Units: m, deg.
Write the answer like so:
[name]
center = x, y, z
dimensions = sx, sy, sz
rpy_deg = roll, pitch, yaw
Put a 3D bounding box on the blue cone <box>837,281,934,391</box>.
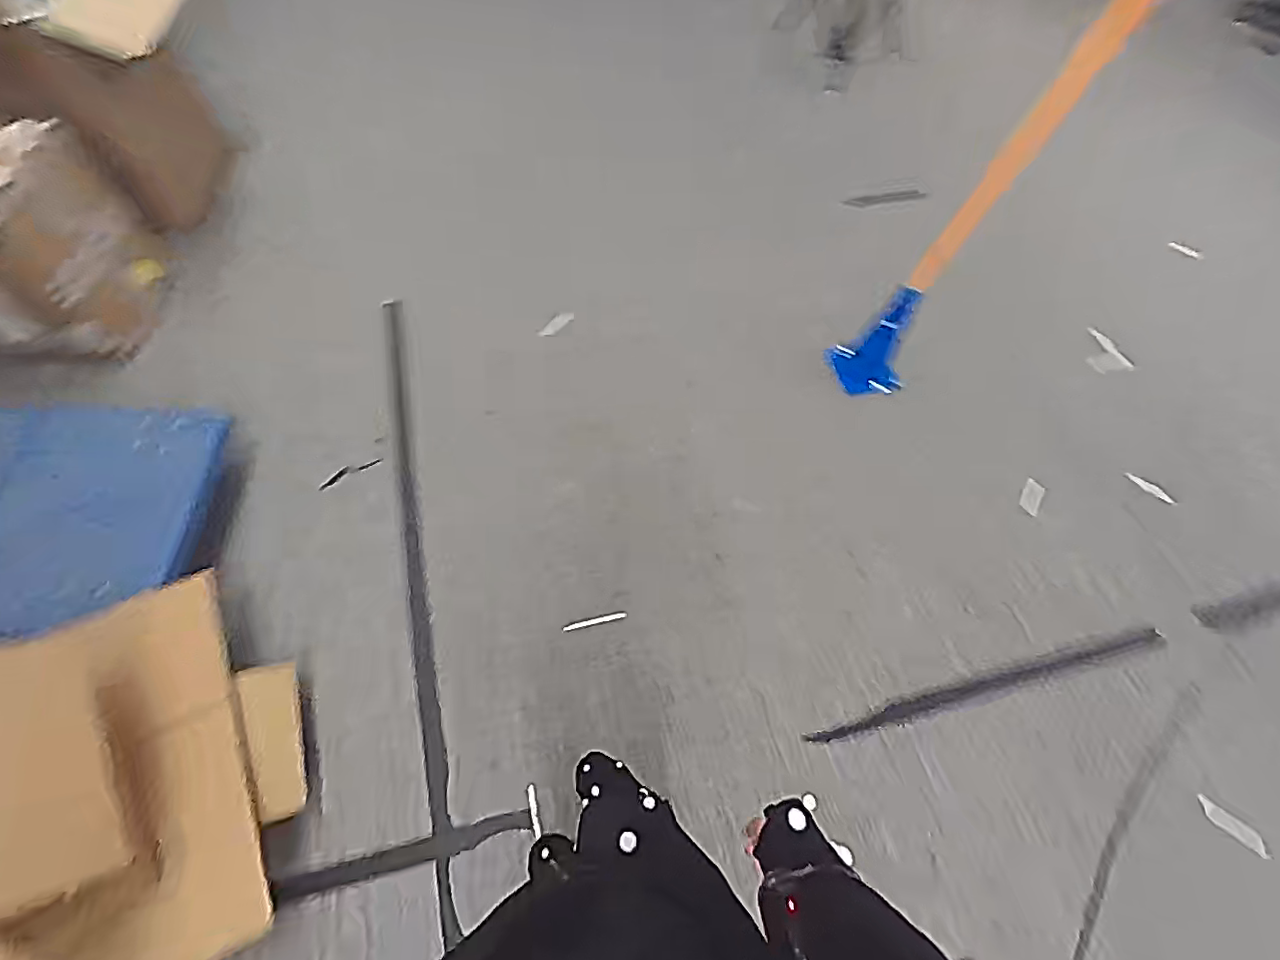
[blue cone]
center = 0.780, -0.455, 1.668
dimensions = 0.192, 0.380, 0.193
rpy_deg = -8, 63, -8
